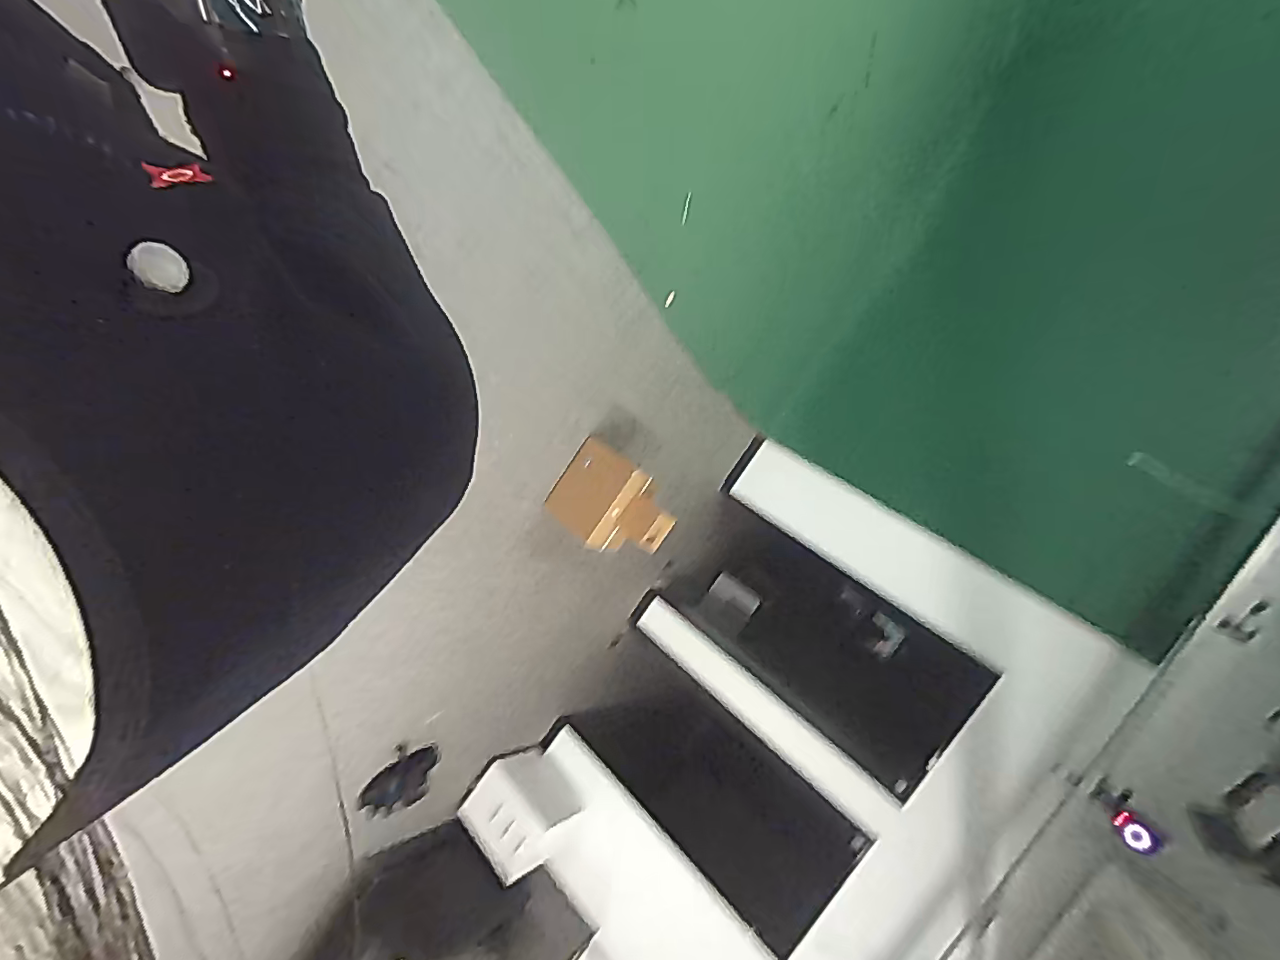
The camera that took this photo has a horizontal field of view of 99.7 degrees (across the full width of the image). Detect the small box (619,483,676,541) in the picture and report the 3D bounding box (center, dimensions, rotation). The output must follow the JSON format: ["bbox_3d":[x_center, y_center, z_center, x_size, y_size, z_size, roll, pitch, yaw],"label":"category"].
[{"bbox_3d":[0.028,0.144,2.458,0.179,0.176,0.168,-53,148,-2],"label":"small box"}]
